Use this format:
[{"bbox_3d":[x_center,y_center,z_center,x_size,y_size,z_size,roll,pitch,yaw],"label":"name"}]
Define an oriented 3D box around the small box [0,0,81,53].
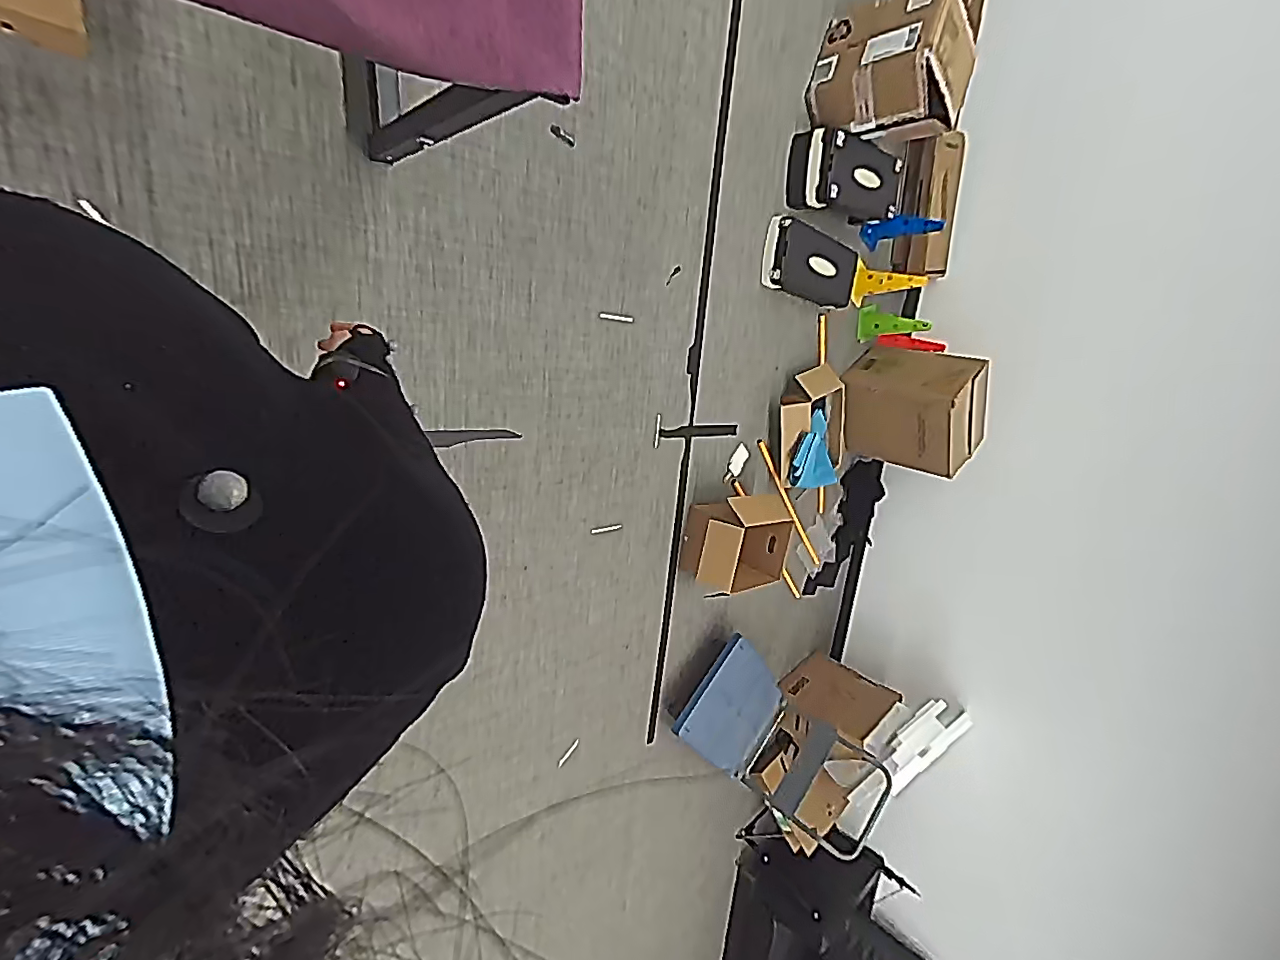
[{"bbox_3d":[-0.981,-0.800,0.824,0.168,0.176,0.179,-7,109,-44],"label":"small box"}]
